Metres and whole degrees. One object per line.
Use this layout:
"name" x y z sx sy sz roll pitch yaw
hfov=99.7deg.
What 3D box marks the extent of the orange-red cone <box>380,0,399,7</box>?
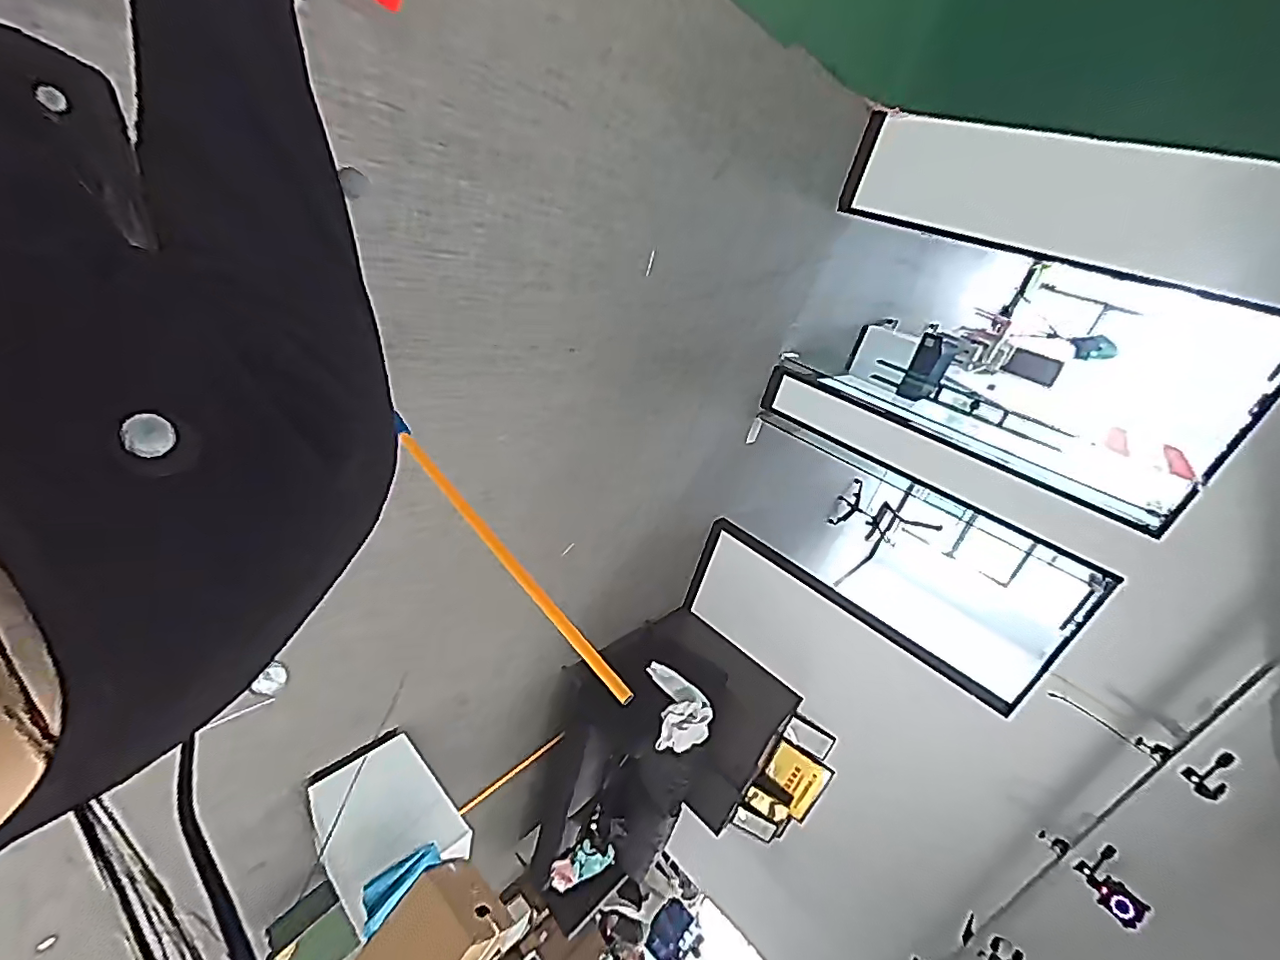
"orange-red cone" -0.440 -1.043 1.010 0.198 0.360 0.199 0 119 -54
